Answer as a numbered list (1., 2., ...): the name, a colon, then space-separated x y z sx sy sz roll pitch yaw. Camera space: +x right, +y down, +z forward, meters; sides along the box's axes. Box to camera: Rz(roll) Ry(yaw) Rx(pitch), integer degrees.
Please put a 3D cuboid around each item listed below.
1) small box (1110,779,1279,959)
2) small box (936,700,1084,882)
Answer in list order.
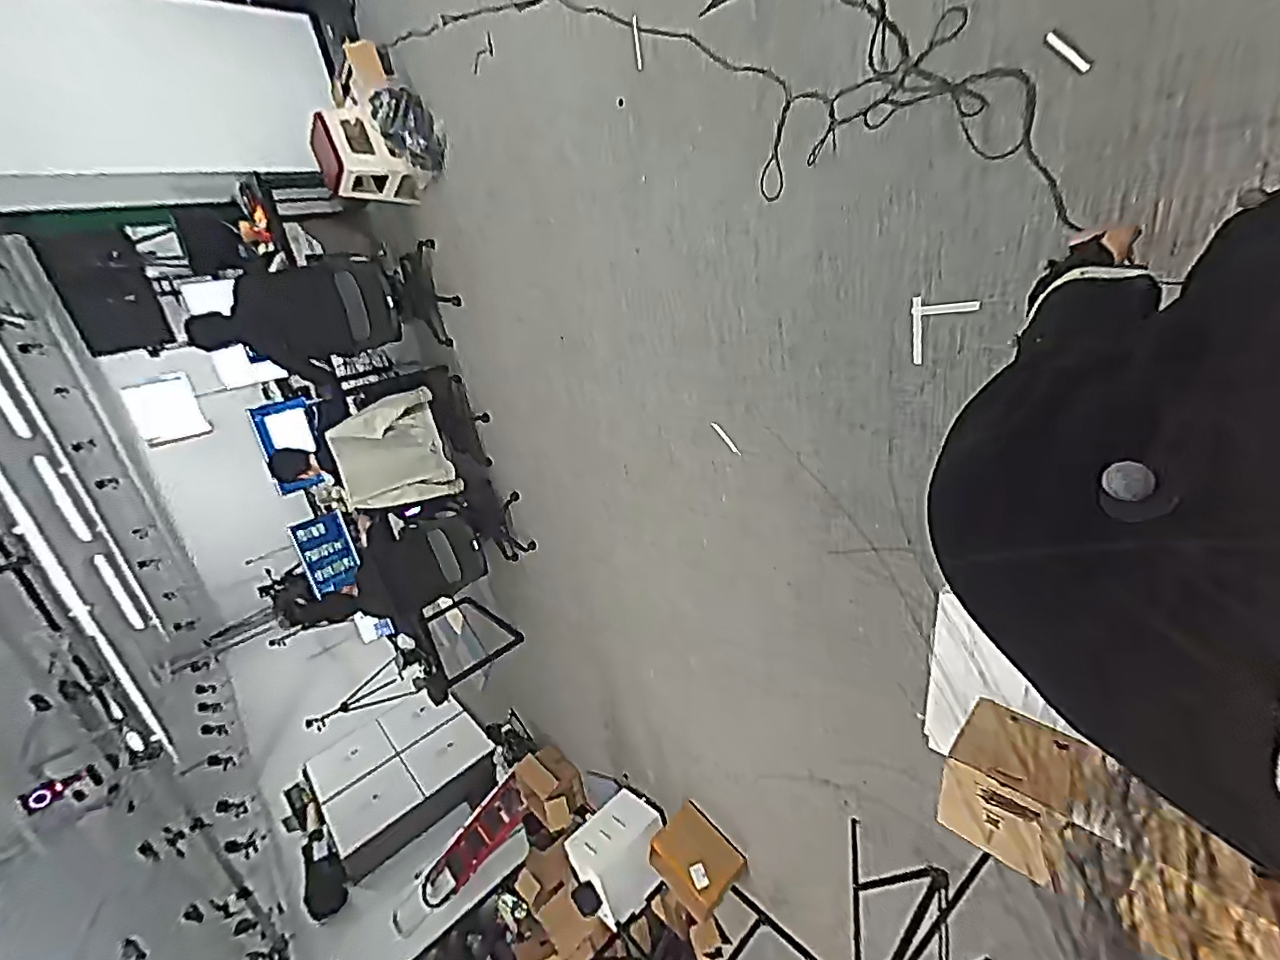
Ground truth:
1. small box: 0.806 0.573 0.762 0.168 0.176 0.179 21 127 44
2. small box: 0.640 0.523 0.937 0.168 0.176 0.179 18 125 45
